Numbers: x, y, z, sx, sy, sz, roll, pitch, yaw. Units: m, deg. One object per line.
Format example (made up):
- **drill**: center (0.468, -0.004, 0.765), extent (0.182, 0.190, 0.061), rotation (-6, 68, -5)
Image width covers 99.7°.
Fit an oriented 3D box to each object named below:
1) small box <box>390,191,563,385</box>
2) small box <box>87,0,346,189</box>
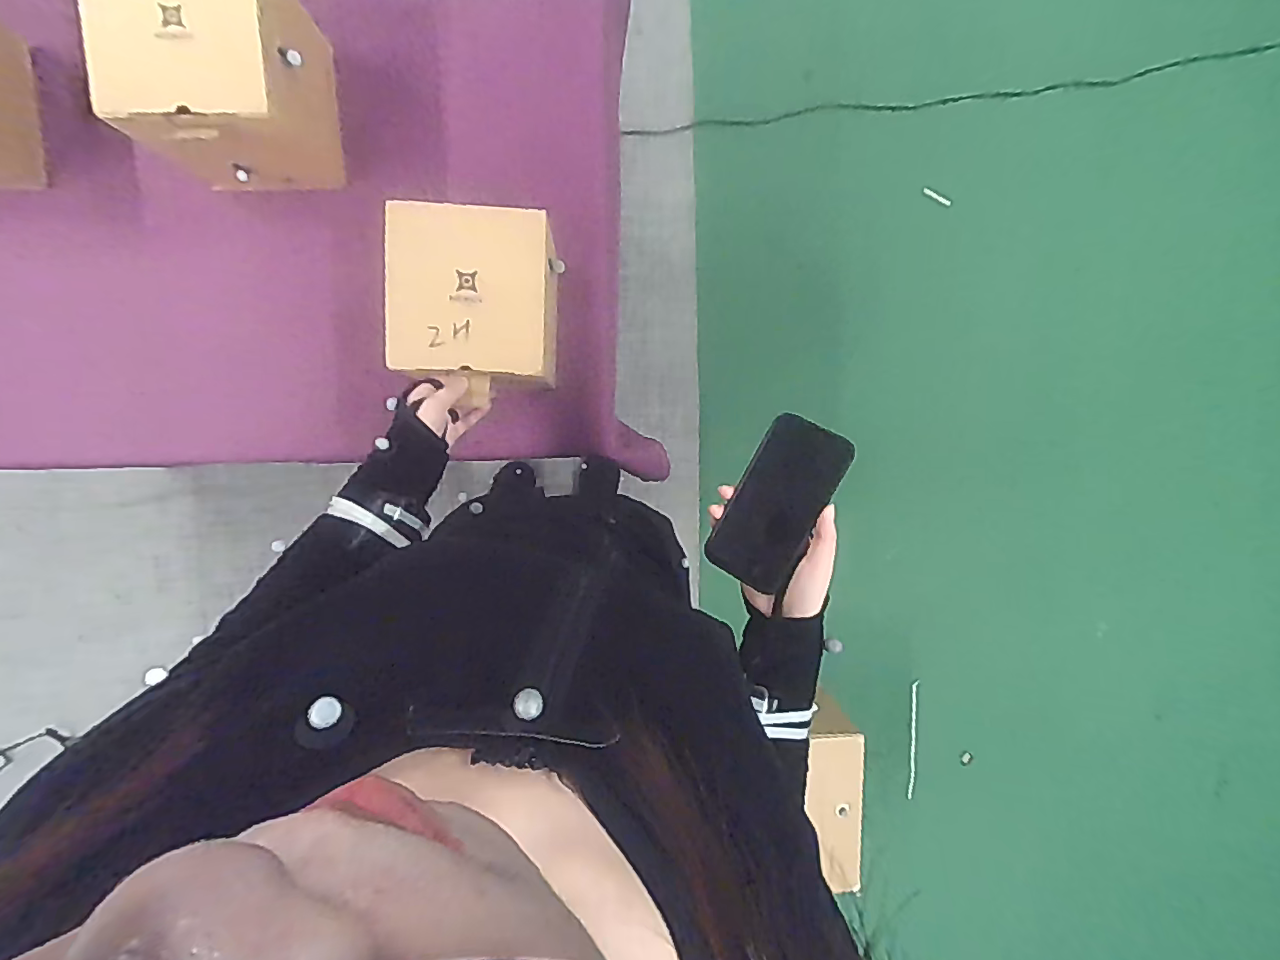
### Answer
- **small box**: center (-0.184, -0.214, 0.649), extent (0.168, 0.176, 0.179), rotation (2, 95, -4)
- **small box**: center (-0.457, -0.455, 0.608), extent (0.168, 0.176, 0.179), rotation (-3, 96, -4)
